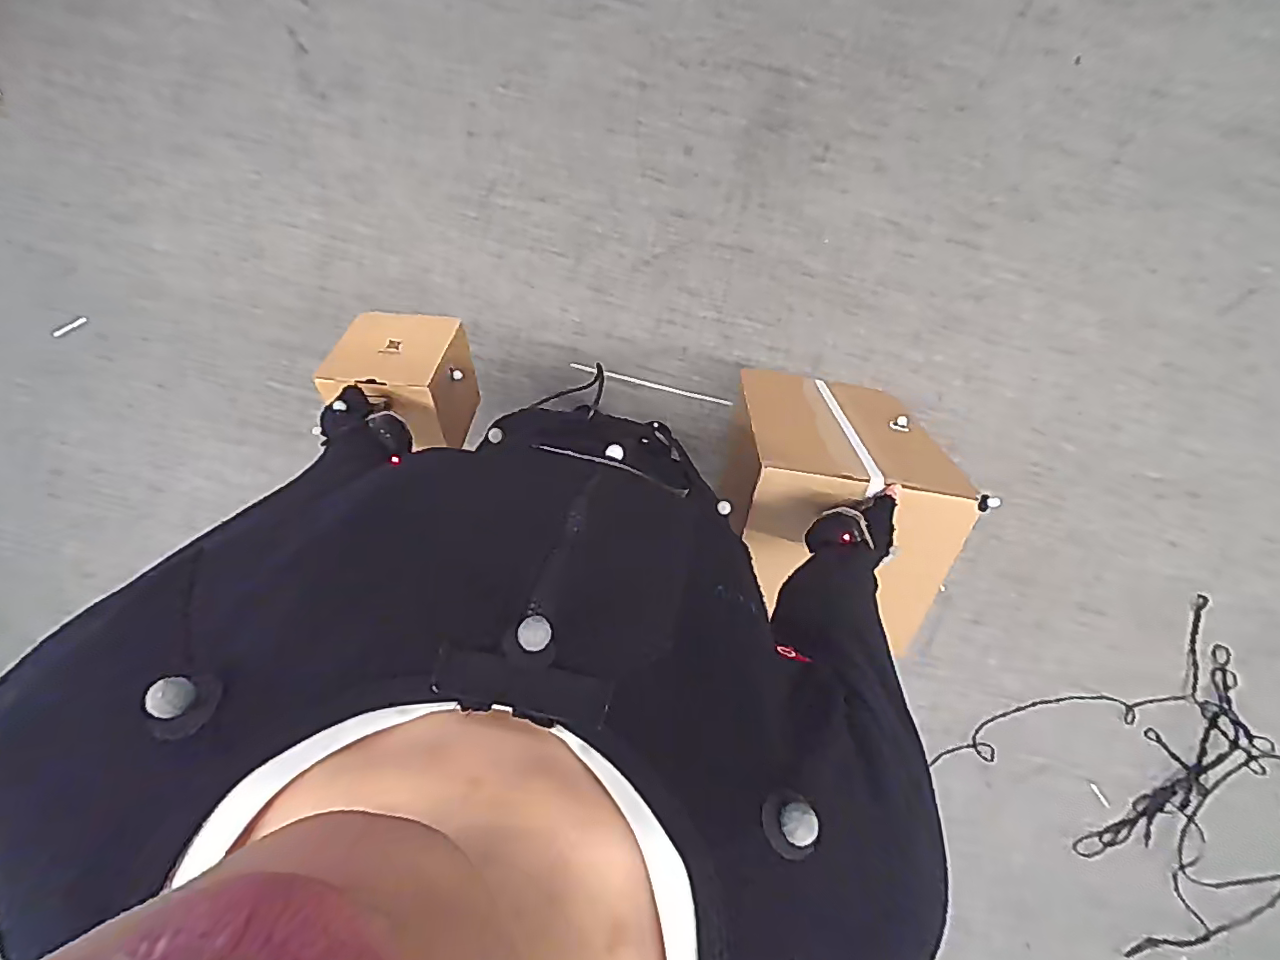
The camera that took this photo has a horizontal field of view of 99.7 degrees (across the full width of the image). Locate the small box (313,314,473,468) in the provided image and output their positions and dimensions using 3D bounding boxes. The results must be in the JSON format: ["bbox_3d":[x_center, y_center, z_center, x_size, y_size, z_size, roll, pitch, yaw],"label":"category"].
[{"bbox_3d":[-0.381,-0.143,0.875,0.168,0.179,0.176,4,139,0],"label":"small box"}]
